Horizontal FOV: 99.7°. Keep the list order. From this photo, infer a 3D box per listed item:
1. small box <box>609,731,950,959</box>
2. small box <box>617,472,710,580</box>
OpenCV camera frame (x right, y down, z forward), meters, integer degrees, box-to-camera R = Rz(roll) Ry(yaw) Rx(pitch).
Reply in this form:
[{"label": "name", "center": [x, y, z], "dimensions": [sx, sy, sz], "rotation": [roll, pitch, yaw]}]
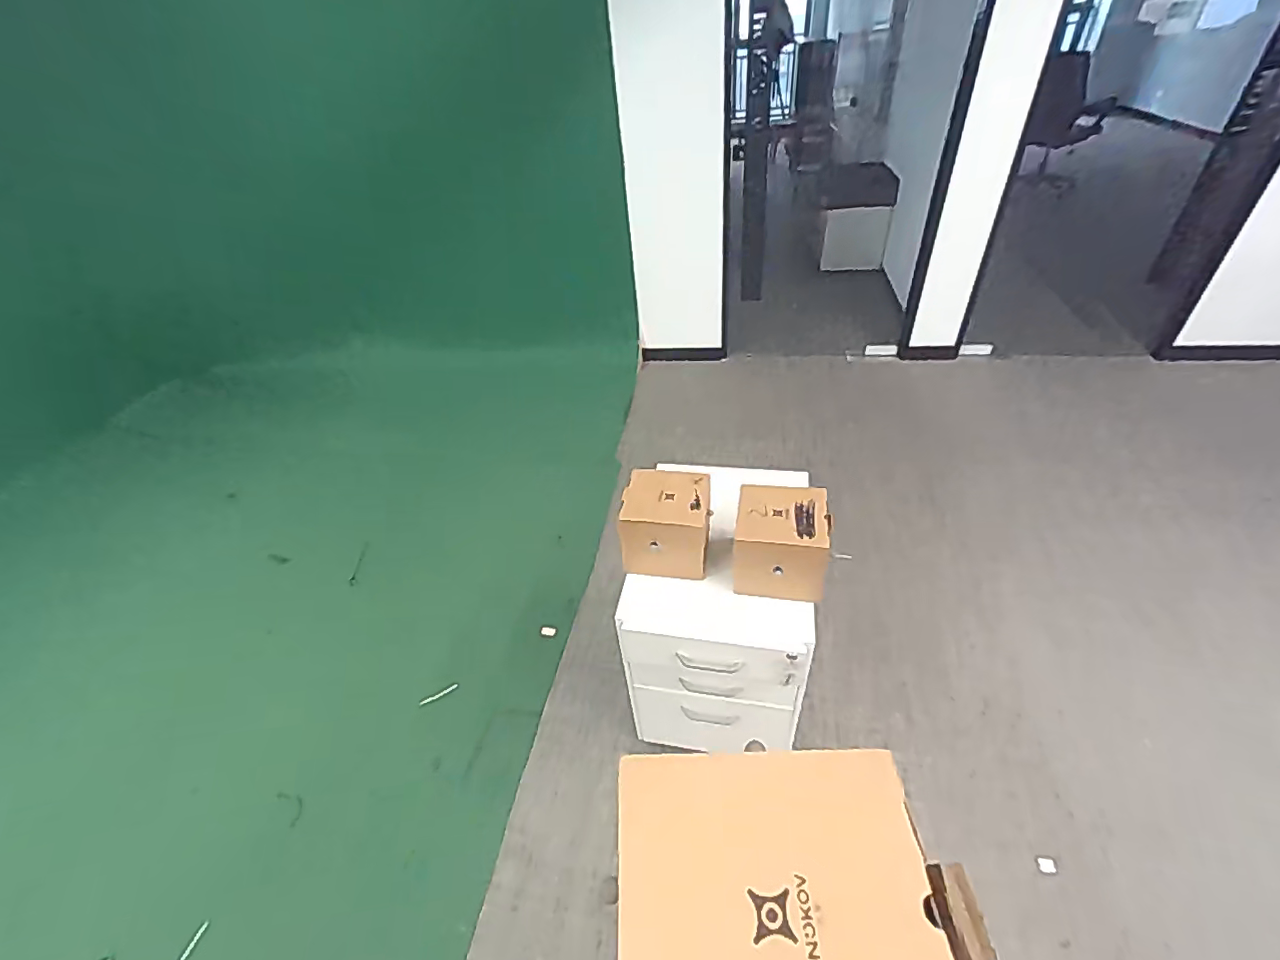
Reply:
[{"label": "small box", "center": [0.071, 0.280, 0.354], "dimensions": [0.179, 0.176, 0.168], "rotation": [0, 46, -1]}, {"label": "small box", "center": [0.059, 0.101, 1.186], "dimensions": [0.179, 0.176, 0.168], "rotation": [4, 41, 11]}]
